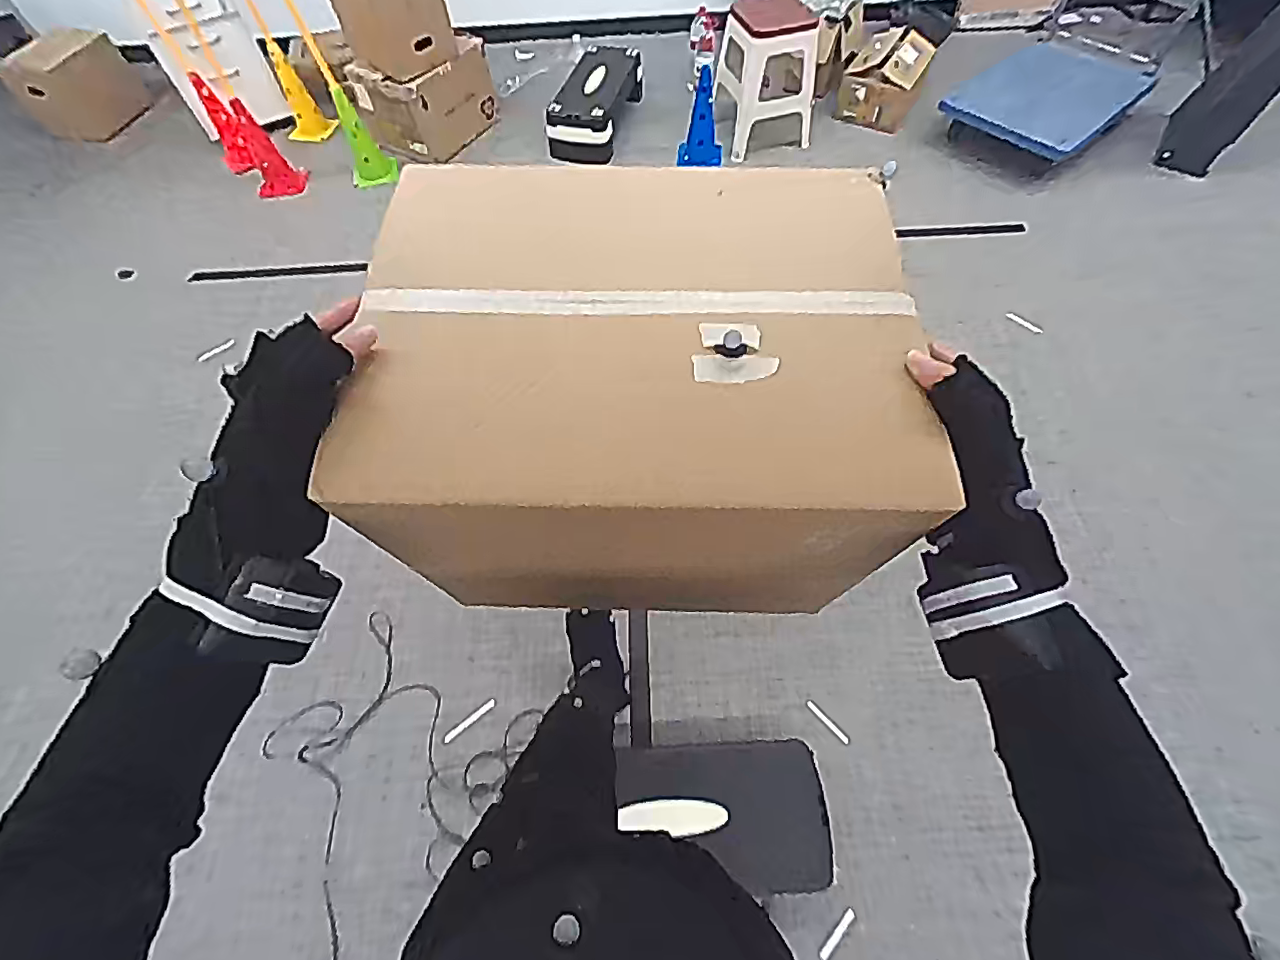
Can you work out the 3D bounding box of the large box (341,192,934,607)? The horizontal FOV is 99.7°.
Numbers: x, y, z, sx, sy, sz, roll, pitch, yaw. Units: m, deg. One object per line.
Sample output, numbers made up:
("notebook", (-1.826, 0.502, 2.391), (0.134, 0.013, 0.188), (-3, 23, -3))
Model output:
("large box", (-0.002, -0.058, 0.555), (0.408, 0.320, 0.320), (1, 64, 1))
